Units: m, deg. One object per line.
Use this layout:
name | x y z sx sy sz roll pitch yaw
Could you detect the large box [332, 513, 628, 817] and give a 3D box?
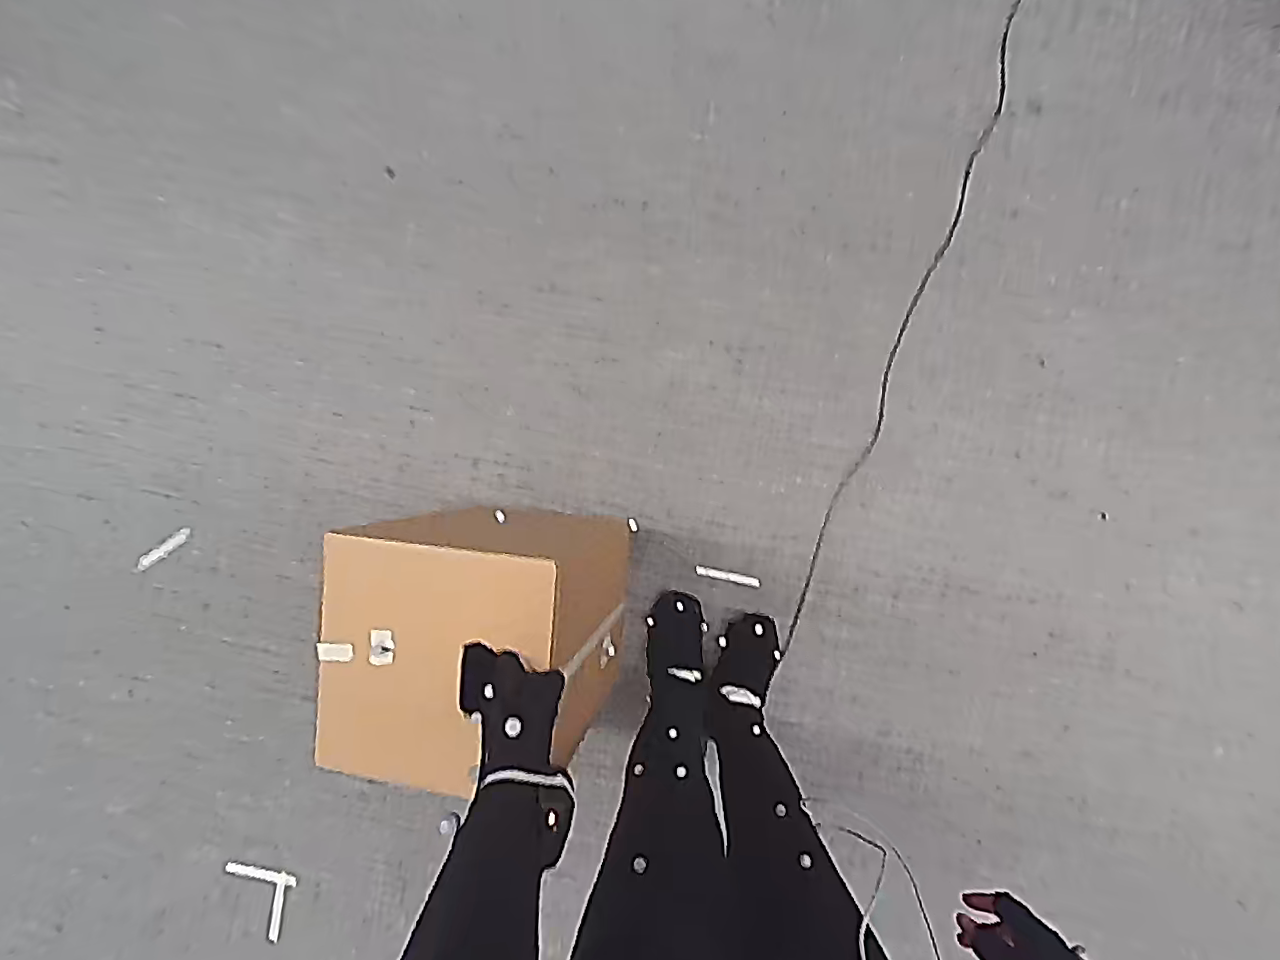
large box | -0.215 0.238 0.861 0.320 0.408 0.320 5 94 10
